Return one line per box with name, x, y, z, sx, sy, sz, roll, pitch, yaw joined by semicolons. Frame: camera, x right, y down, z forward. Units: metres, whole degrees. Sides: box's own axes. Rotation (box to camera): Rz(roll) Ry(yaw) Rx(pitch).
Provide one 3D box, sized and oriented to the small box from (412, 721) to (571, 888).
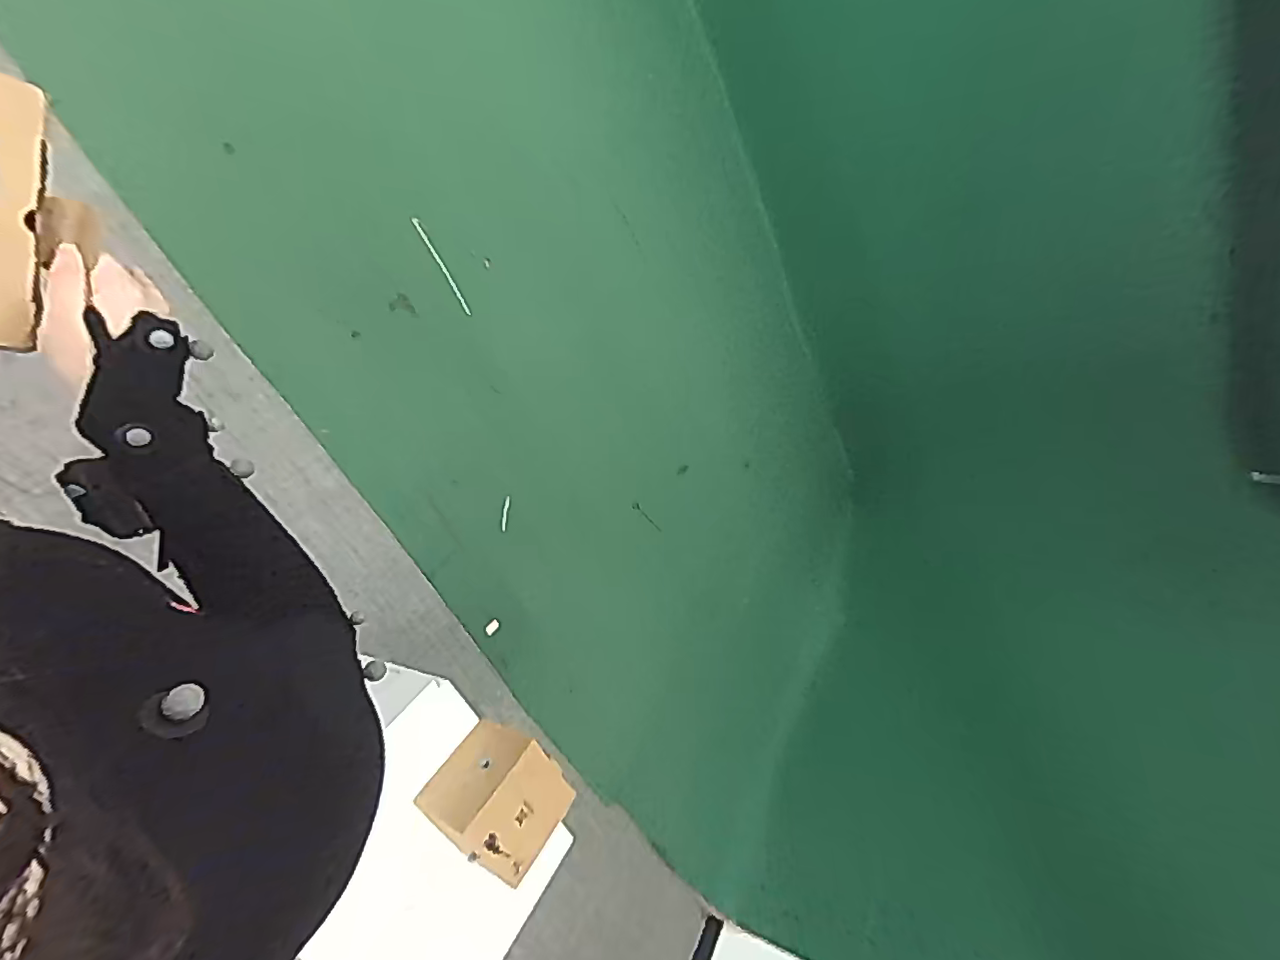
small box;-0.263;0.562;0.963;0.179;0.176;0.168;-48;120;-41
